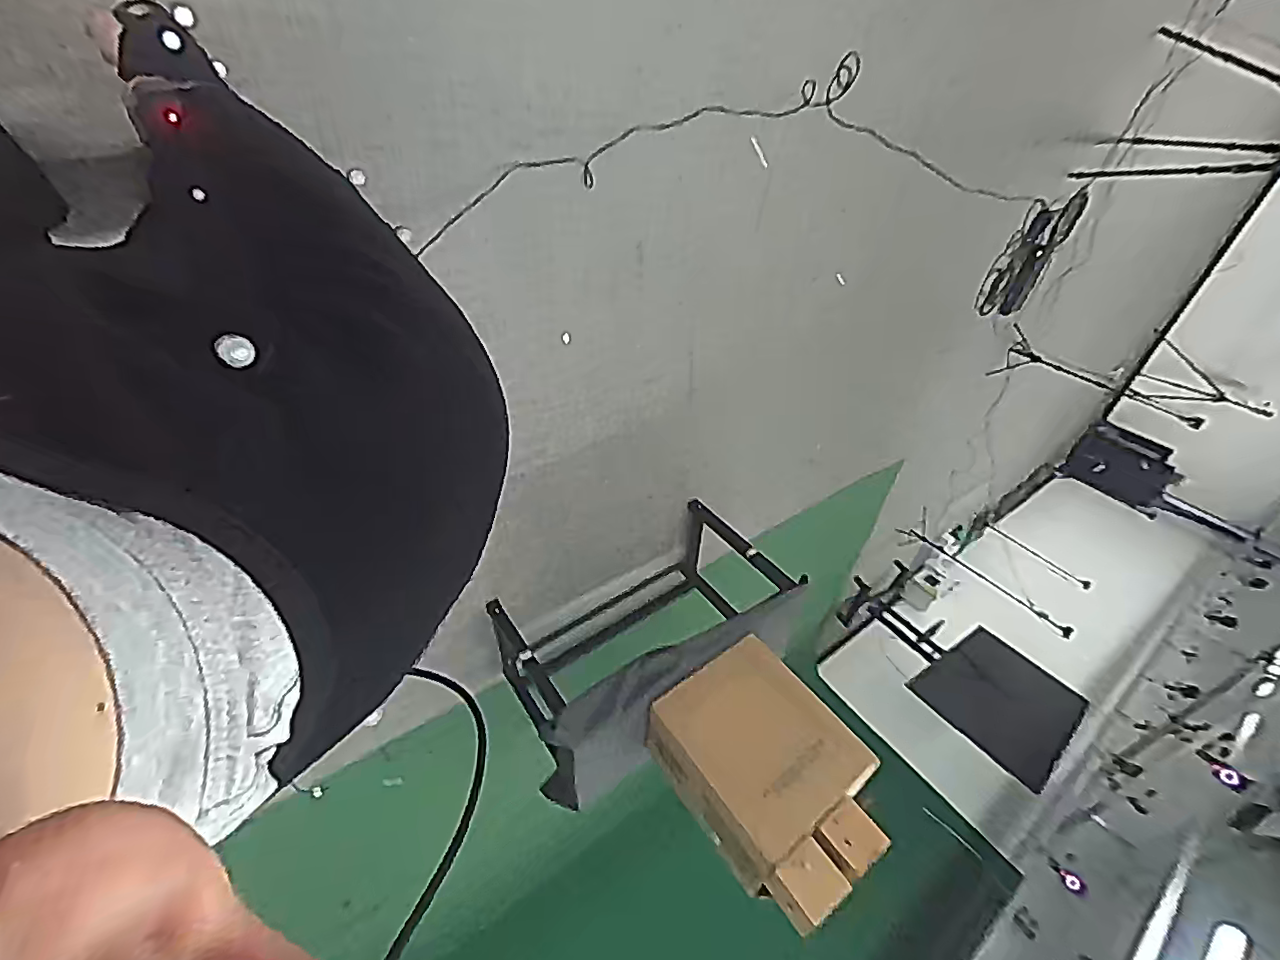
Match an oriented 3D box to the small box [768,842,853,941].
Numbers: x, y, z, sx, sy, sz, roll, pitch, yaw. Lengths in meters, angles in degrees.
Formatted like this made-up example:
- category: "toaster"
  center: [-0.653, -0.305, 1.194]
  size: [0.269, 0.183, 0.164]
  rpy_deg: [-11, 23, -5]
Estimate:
- category: "small box"
  center: [0.517, 1.260, 1.664]
  size: [0.168, 0.176, 0.179]
  rpy_deg: [-24, 137, -25]
